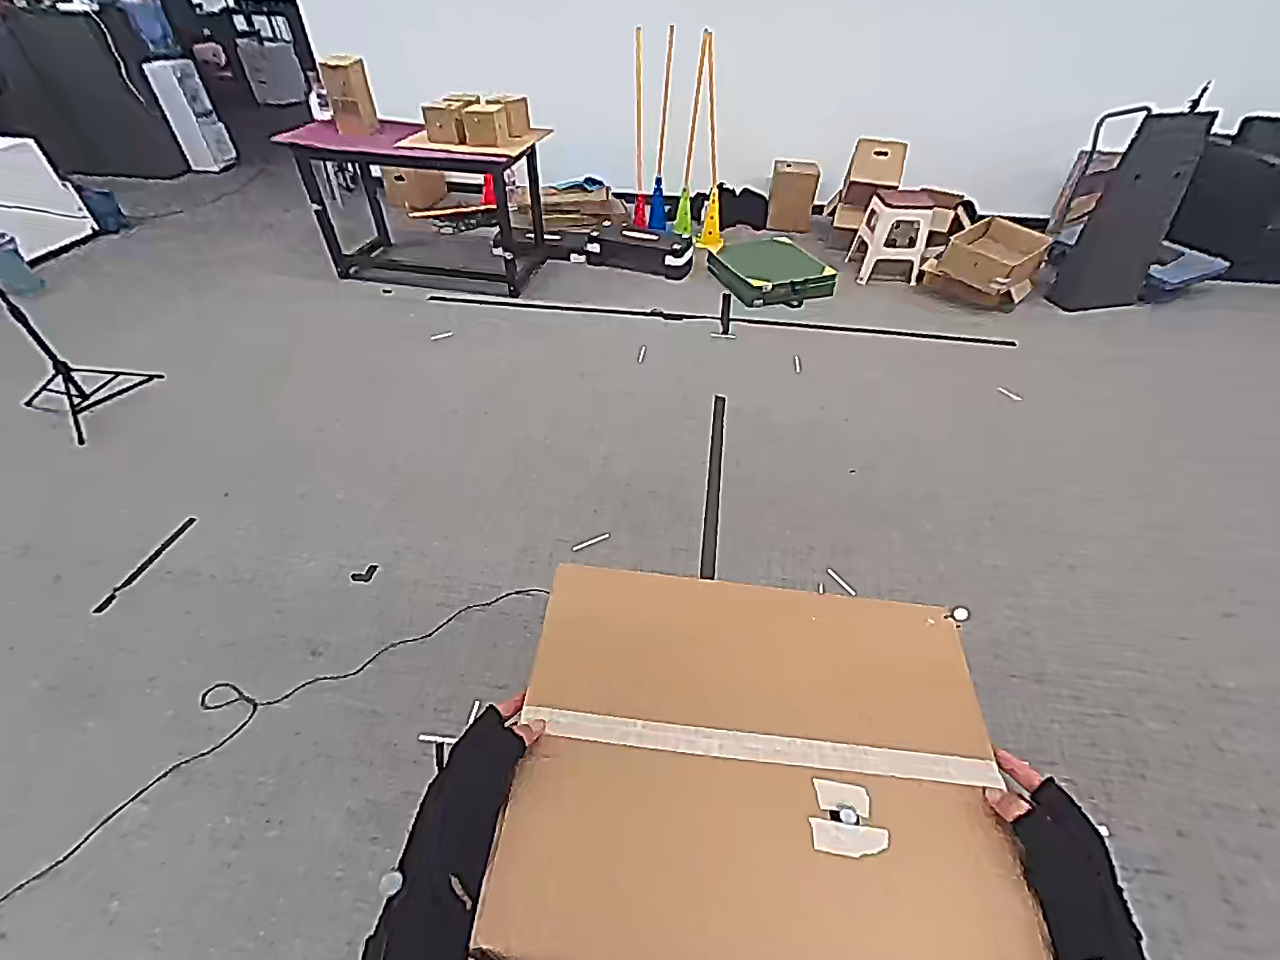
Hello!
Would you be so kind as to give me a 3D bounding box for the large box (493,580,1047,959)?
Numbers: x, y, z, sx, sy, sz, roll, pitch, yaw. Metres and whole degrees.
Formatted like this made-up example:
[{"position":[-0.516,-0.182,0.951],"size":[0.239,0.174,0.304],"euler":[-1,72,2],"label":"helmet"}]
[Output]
[{"position":[0.096,0.334,0.580],"size":[0.408,0.320,0.320],"euler":[6,50,1],"label":"large box"}]
